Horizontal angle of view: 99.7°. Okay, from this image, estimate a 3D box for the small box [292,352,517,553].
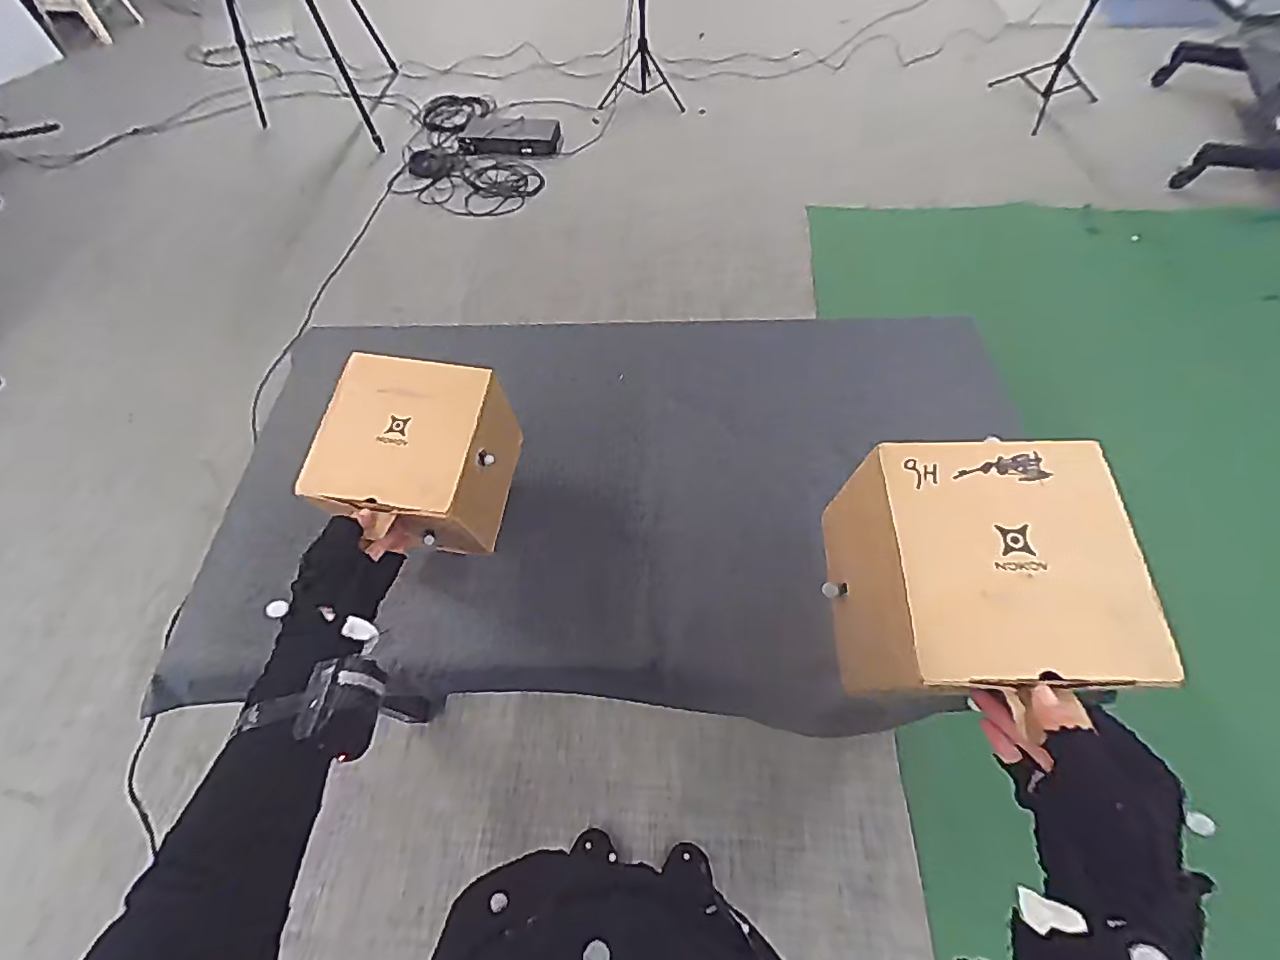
[{"bbox_3d":[-0.256,-0.023,0.640,0.168,0.176,0.179,8,68,3],"label":"small box"}]
